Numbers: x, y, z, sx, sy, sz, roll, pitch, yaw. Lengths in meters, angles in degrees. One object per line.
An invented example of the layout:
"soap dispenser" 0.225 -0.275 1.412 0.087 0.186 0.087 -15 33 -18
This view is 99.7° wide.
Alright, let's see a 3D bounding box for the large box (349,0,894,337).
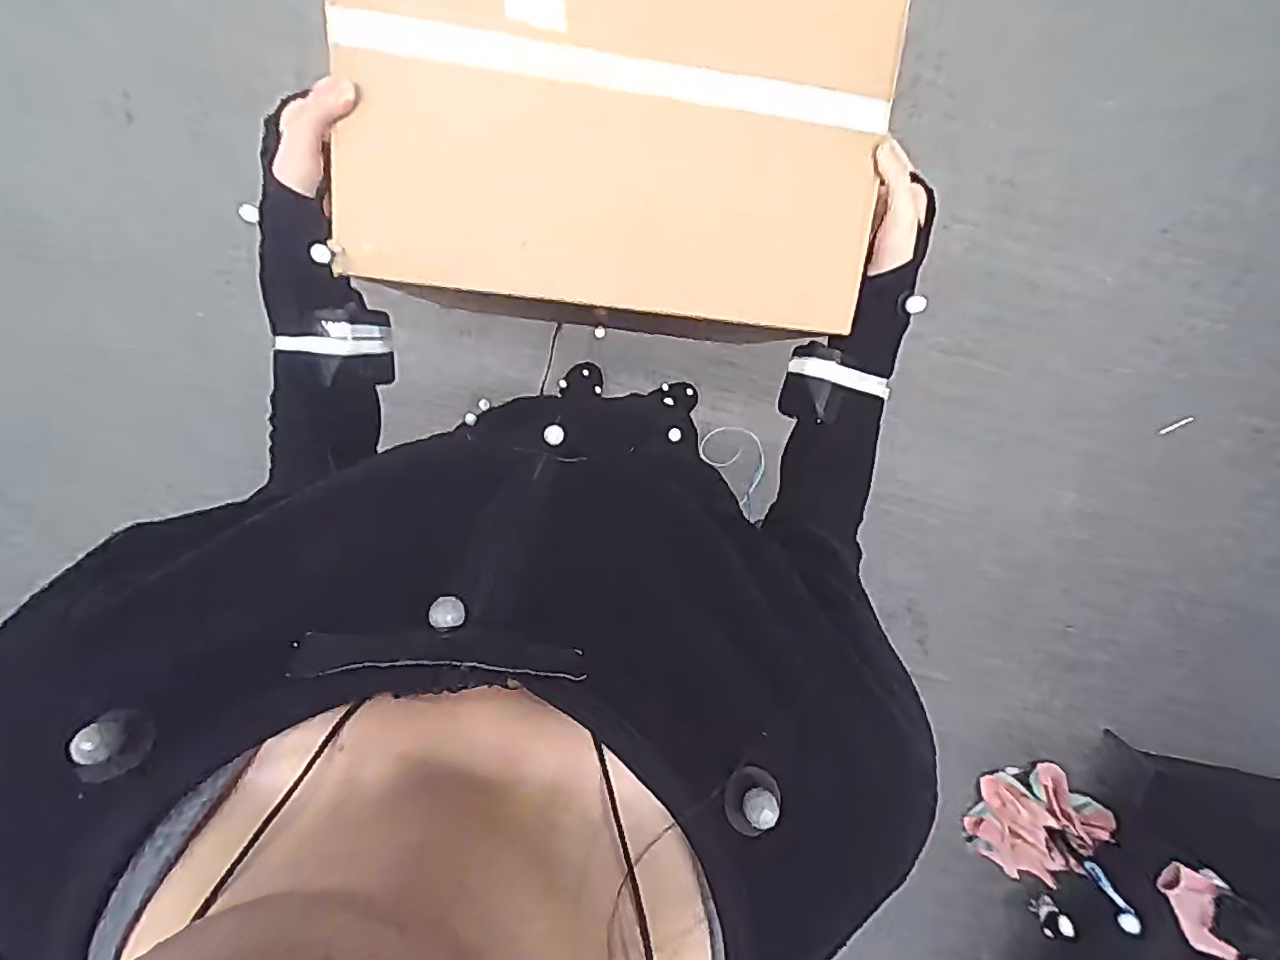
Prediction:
"large box" -0.025 -0.323 0.555 0.408 0.320 0.320 5 102 -6
